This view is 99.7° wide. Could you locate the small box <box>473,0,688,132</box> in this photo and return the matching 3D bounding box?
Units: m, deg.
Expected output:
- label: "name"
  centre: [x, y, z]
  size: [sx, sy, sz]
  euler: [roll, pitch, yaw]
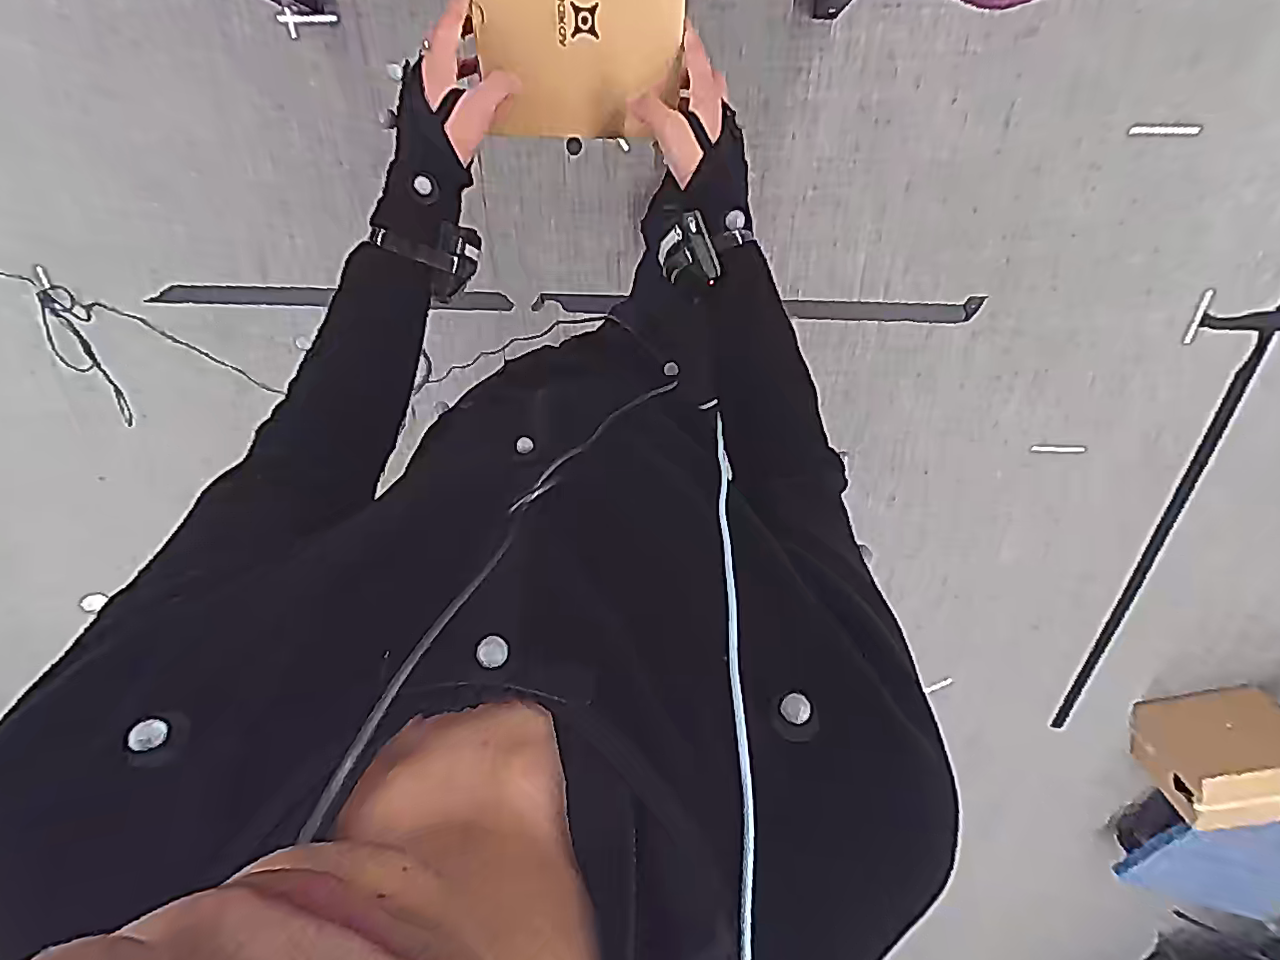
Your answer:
- label: "small box"
  centre: [-0.053, -0.430, 0.499]
  size: [0.179, 0.176, 0.168]
  euler: [-1, 128, -4]
